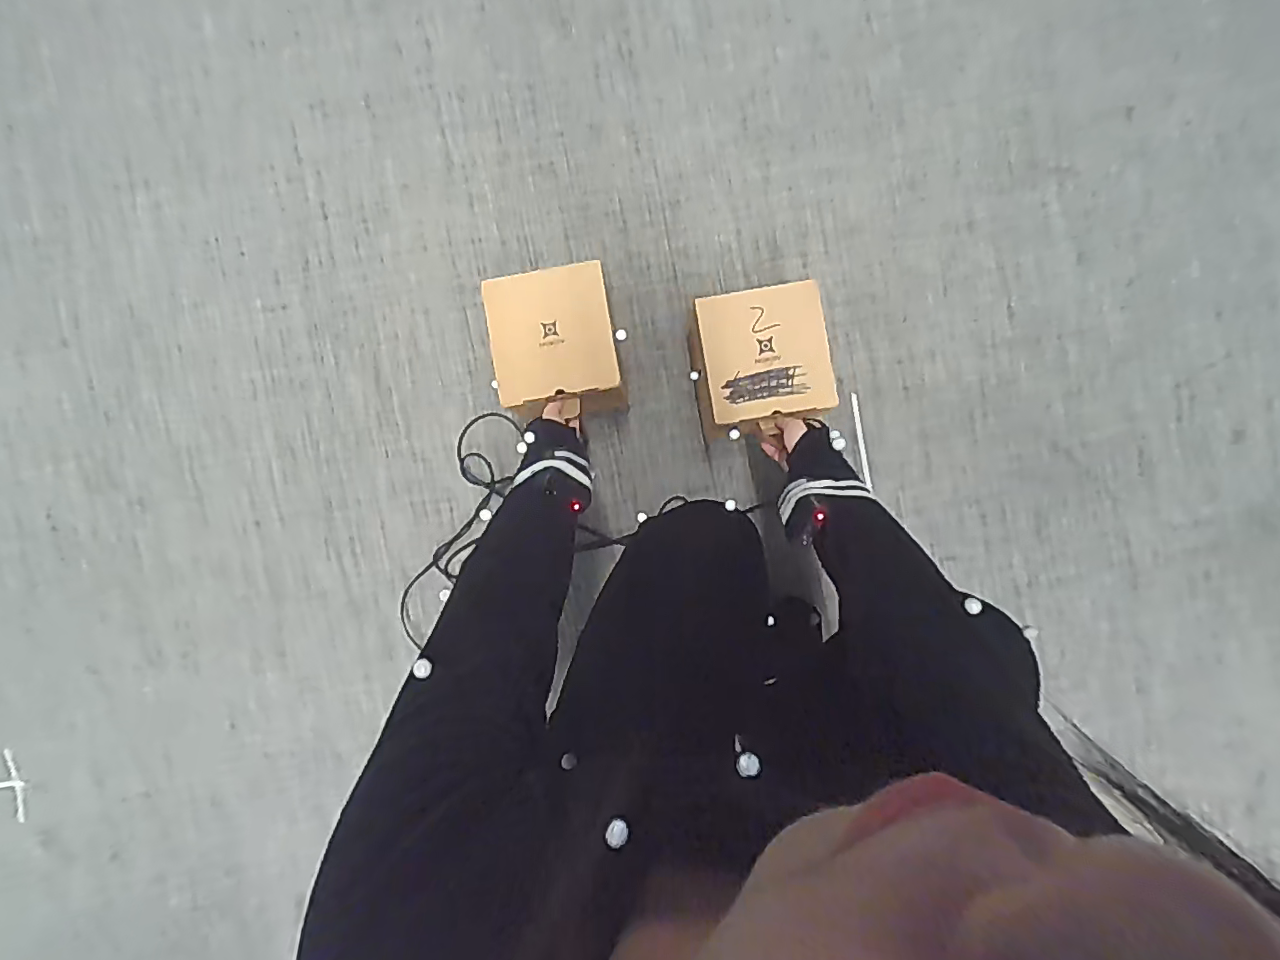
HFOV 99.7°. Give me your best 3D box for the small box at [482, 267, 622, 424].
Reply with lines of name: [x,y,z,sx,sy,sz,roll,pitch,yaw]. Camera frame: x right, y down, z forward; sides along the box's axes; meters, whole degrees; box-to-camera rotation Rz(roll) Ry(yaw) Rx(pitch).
small box: [-0.122,-0.190,0.809,0.168,0.176,0.179,-9,89,1]
